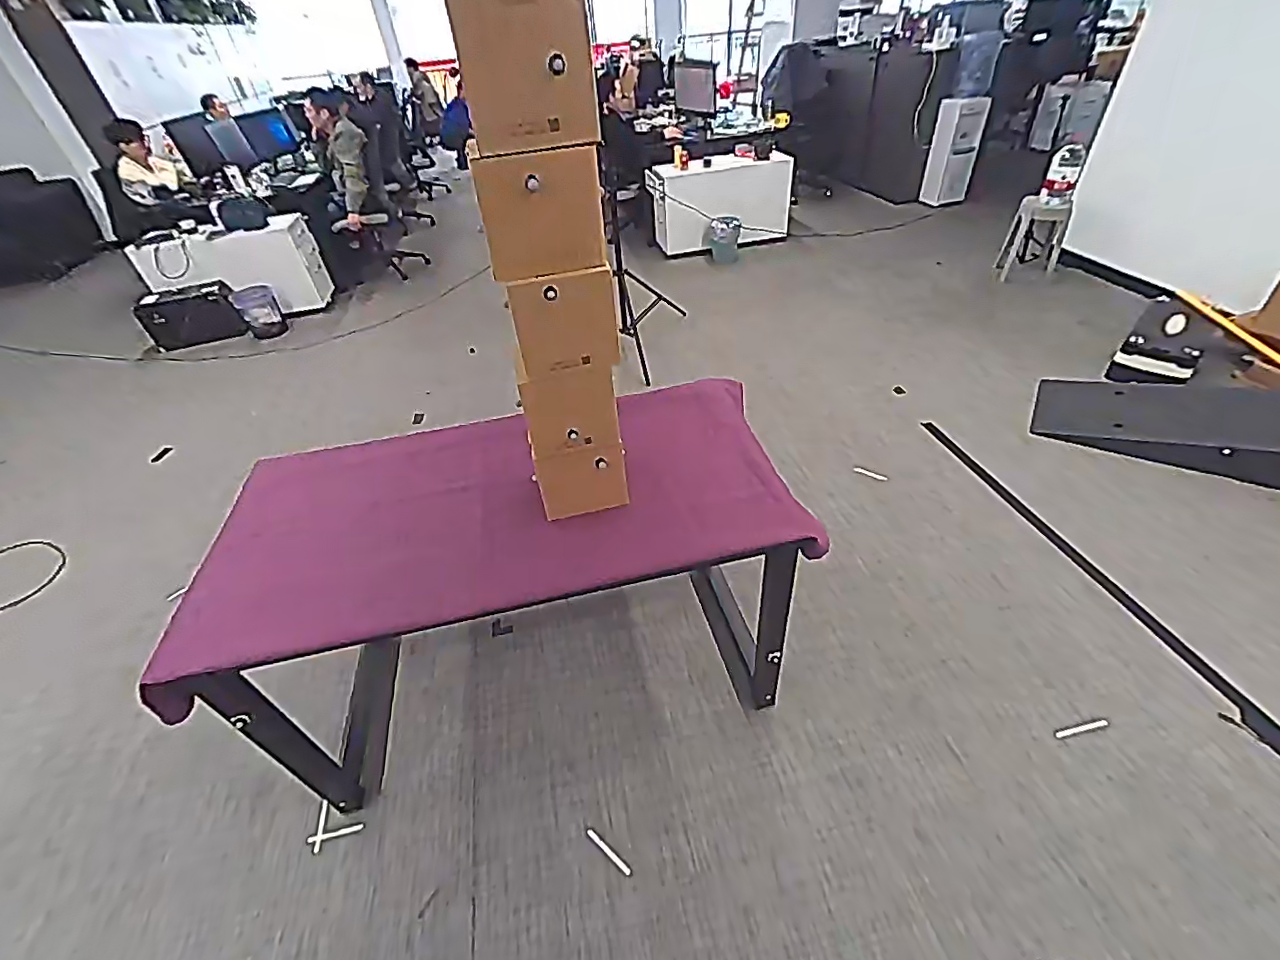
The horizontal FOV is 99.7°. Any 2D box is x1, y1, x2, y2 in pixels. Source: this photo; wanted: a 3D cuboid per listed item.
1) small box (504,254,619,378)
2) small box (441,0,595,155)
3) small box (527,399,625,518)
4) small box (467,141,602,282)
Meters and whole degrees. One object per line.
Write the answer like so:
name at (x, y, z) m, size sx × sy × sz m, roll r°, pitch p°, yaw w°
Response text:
small box at (-0.138, -0.297, 0.936) m, size 0.168 × 0.176 × 0.179 m, roll -12°, pitch 41°, yaw -8°
small box at (-0.163, -0.553, 0.737) m, size 0.168 × 0.176 × 0.179 m, roll -13°, pitch 40°, yaw -10°
small box at (-0.132, -0.045, 1.145) m, size 0.179 × 0.176 × 0.168 m, roll -12°, pitch 40°, yaw -7°
small box at (-0.159, -0.426, 0.839) m, size 0.179 × 0.176 × 0.168 m, roll -13°, pitch 41°, yaw -8°
